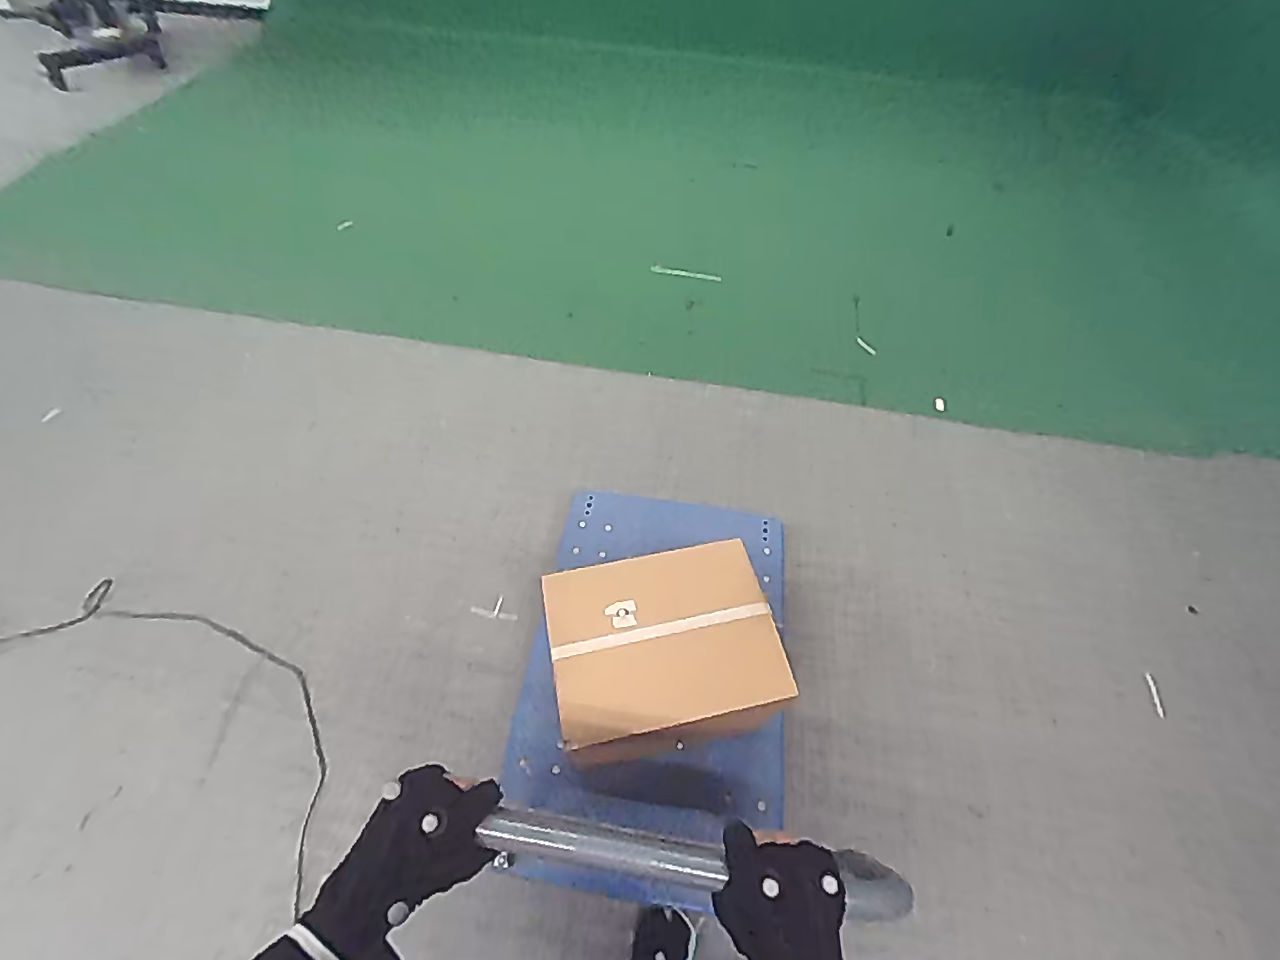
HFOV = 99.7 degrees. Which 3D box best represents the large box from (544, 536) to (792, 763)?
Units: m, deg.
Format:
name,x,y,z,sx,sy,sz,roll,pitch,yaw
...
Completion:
name,x,y,z,sx,sy,sz,roll,pitch,yaw
large box,0.039,0.356,1.116,0.408,0.320,0.320,-11,56,-8
